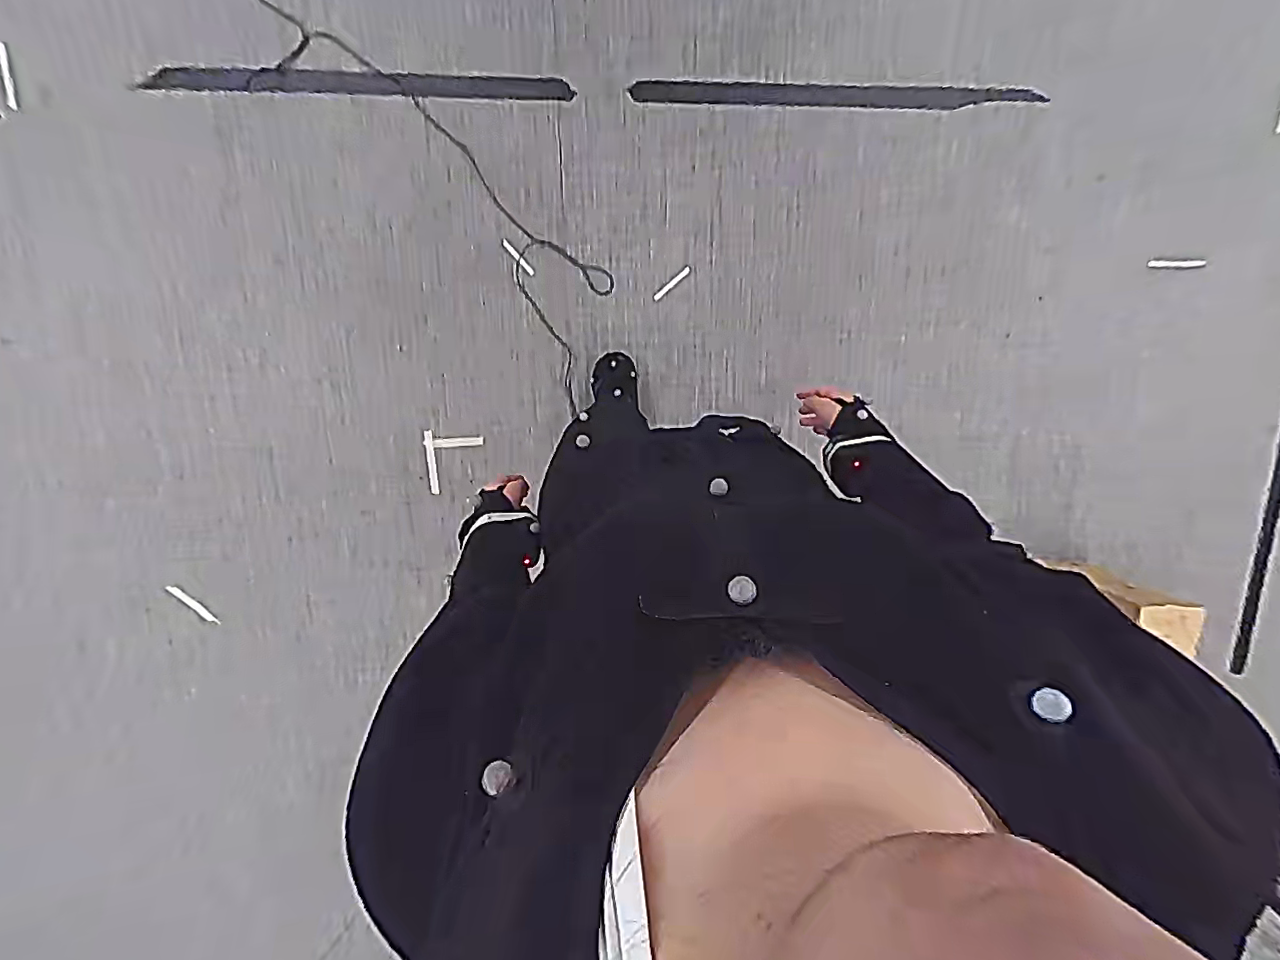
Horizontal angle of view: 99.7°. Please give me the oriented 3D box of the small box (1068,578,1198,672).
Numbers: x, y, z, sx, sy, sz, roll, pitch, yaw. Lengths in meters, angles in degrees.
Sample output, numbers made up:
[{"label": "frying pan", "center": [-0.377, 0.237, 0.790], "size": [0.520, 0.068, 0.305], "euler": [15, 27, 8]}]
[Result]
[{"label": "small box", "center": [1.246, 0.367, 1.381], "size": [0.168, 0.176, 0.179], "euler": [2, 100, -4]}]
